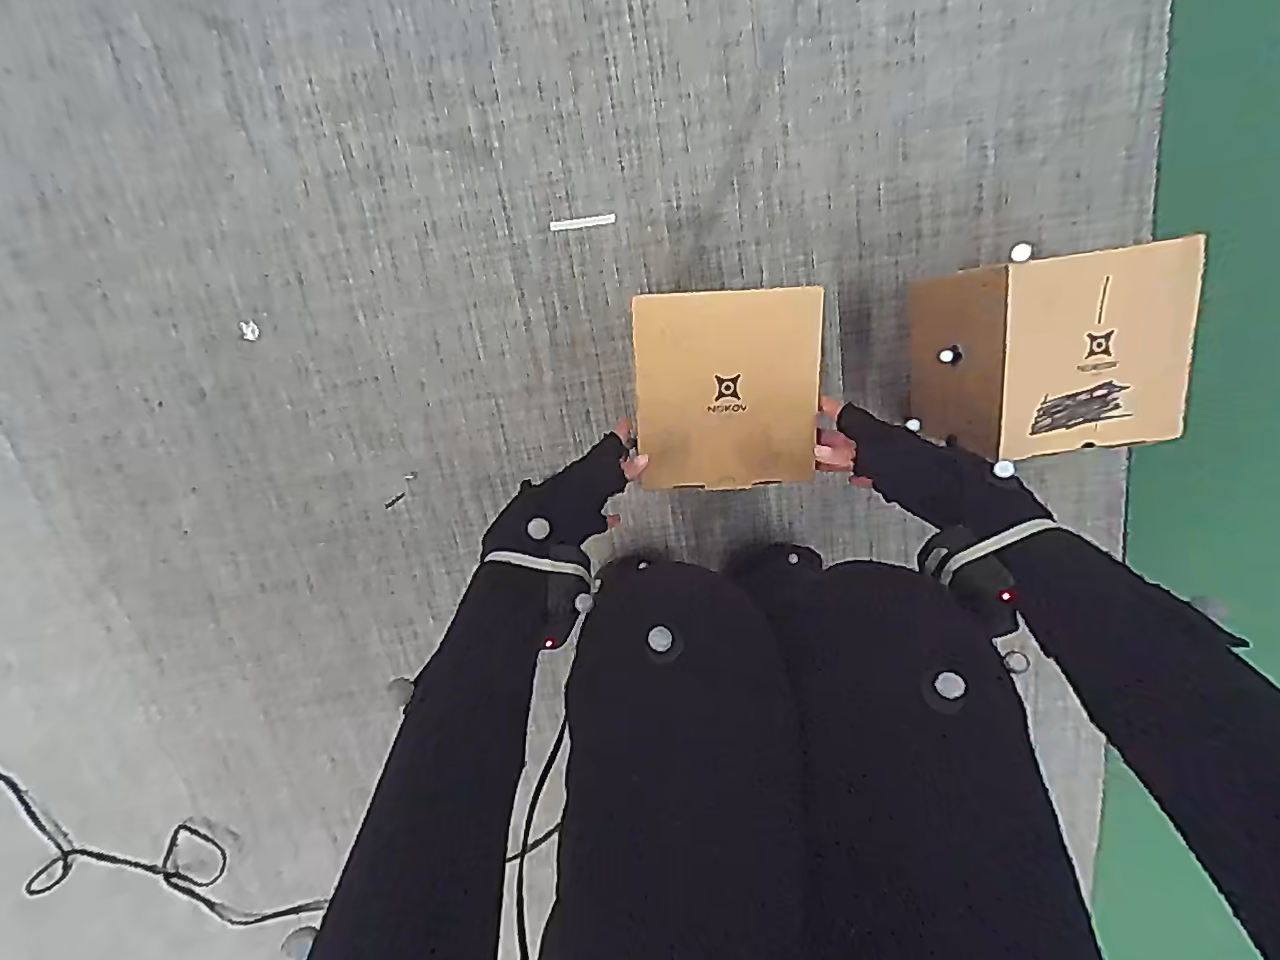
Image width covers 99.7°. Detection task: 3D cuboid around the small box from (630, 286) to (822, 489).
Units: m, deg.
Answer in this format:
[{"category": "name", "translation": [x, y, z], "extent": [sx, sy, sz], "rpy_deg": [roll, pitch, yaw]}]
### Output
[{"category": "small box", "translation": [0.075, -0.101, 0.559], "extent": [0.168, 0.176, 0.179], "rpy_deg": [-3, 107, 0]}]

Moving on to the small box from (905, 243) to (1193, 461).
[{"category": "small box", "translation": [0.393, -0.131, 0.556], "extent": [0.168, 0.176, 0.179], "rpy_deg": [-7, 106, 1]}]
